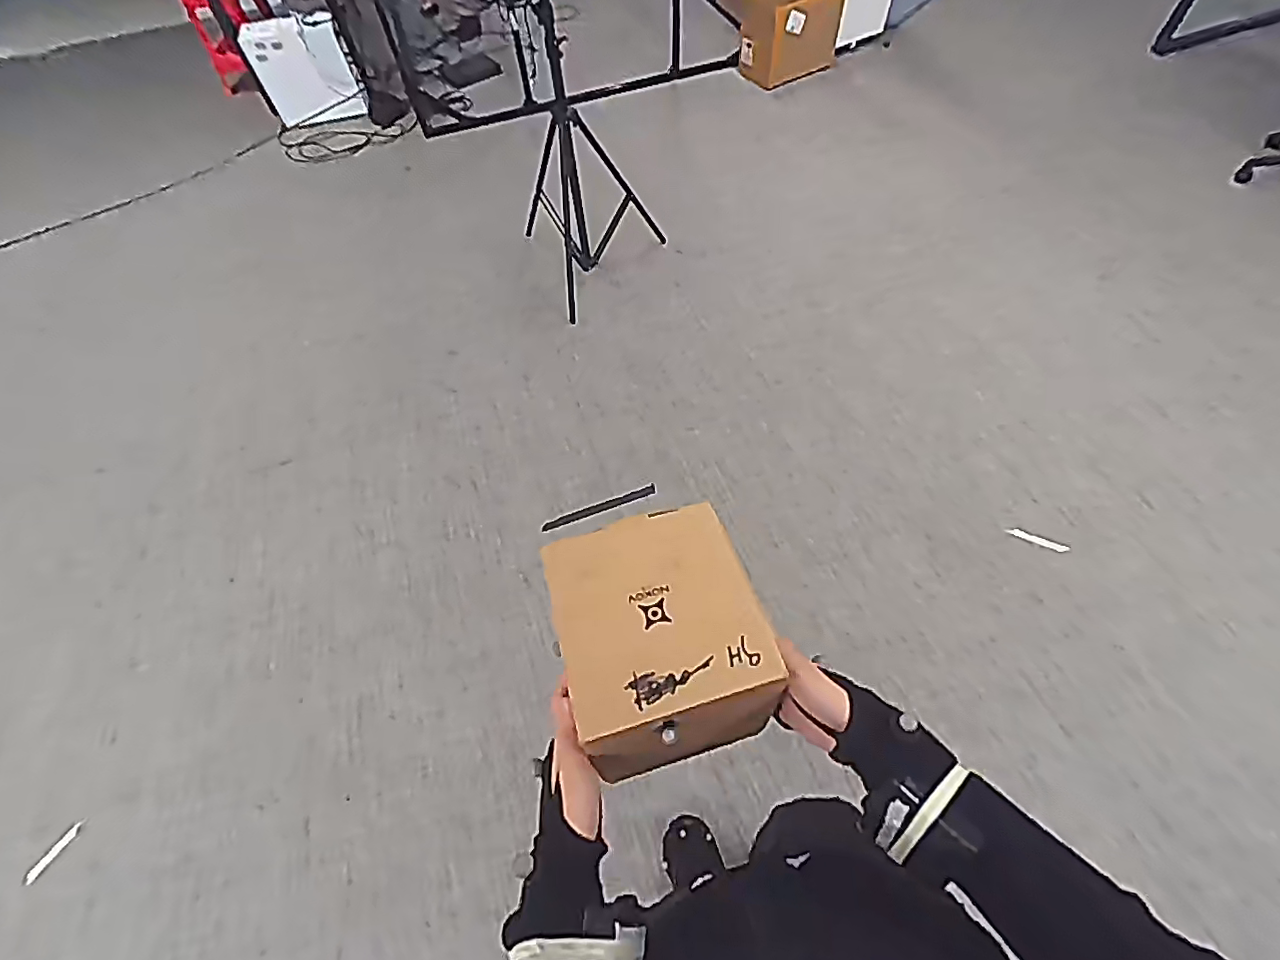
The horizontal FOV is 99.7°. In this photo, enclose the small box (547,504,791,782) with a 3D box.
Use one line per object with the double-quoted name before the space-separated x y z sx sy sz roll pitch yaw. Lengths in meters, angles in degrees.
"small box" 0.018 0.154 0.510 0.168 0.176 0.179 -15 52 -7
